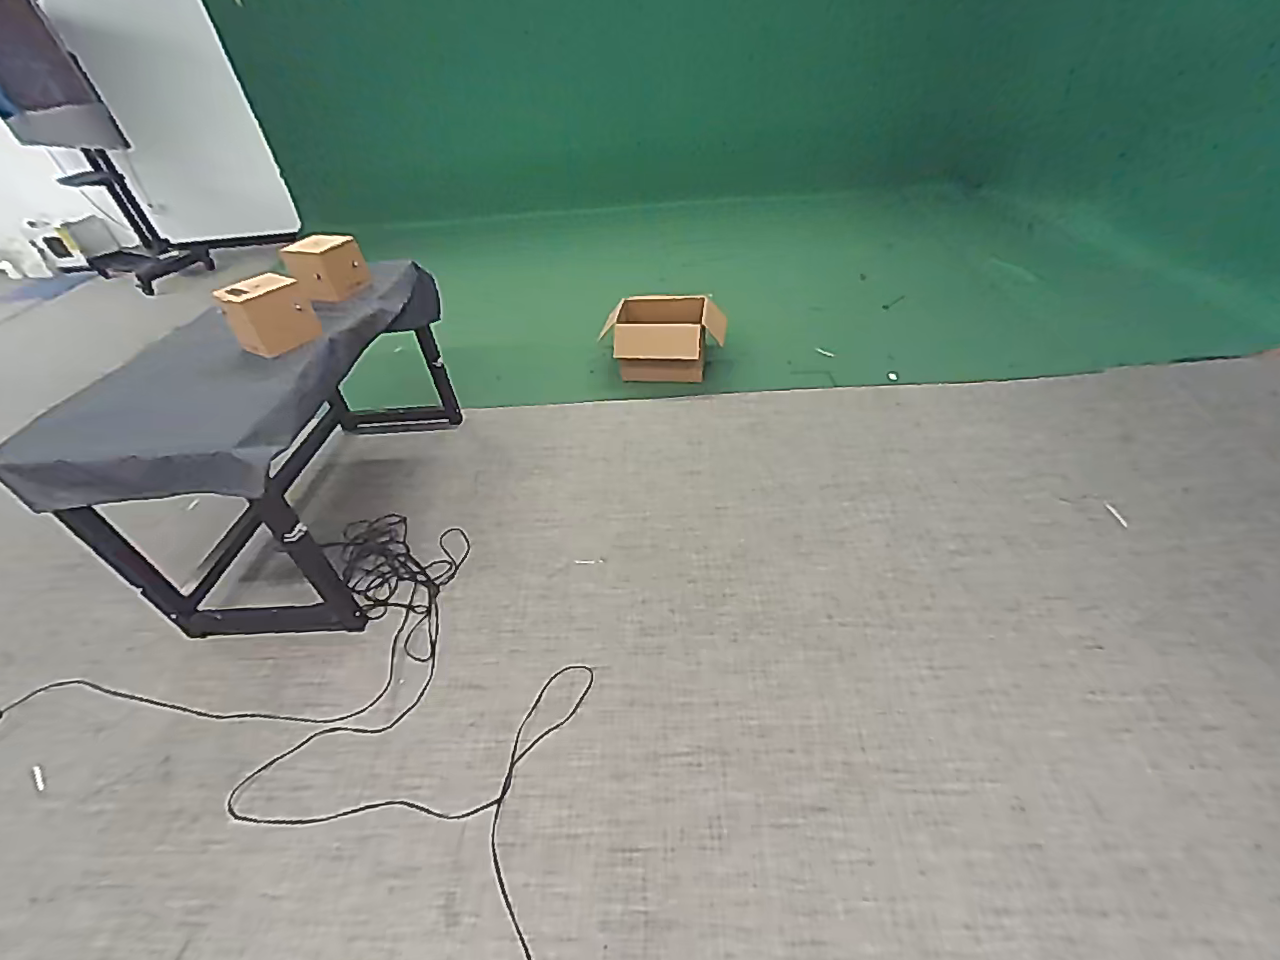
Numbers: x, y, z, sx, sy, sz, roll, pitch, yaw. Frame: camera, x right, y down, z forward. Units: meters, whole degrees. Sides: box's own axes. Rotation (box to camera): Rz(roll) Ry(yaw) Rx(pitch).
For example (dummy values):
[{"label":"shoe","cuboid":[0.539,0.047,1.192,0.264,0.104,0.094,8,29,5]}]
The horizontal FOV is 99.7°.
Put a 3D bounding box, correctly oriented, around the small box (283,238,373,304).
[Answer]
[{"label":"small box","cuboid":[-1.064,-0.717,1.861,0.179,0.176,0.168,9,42,19]}]
